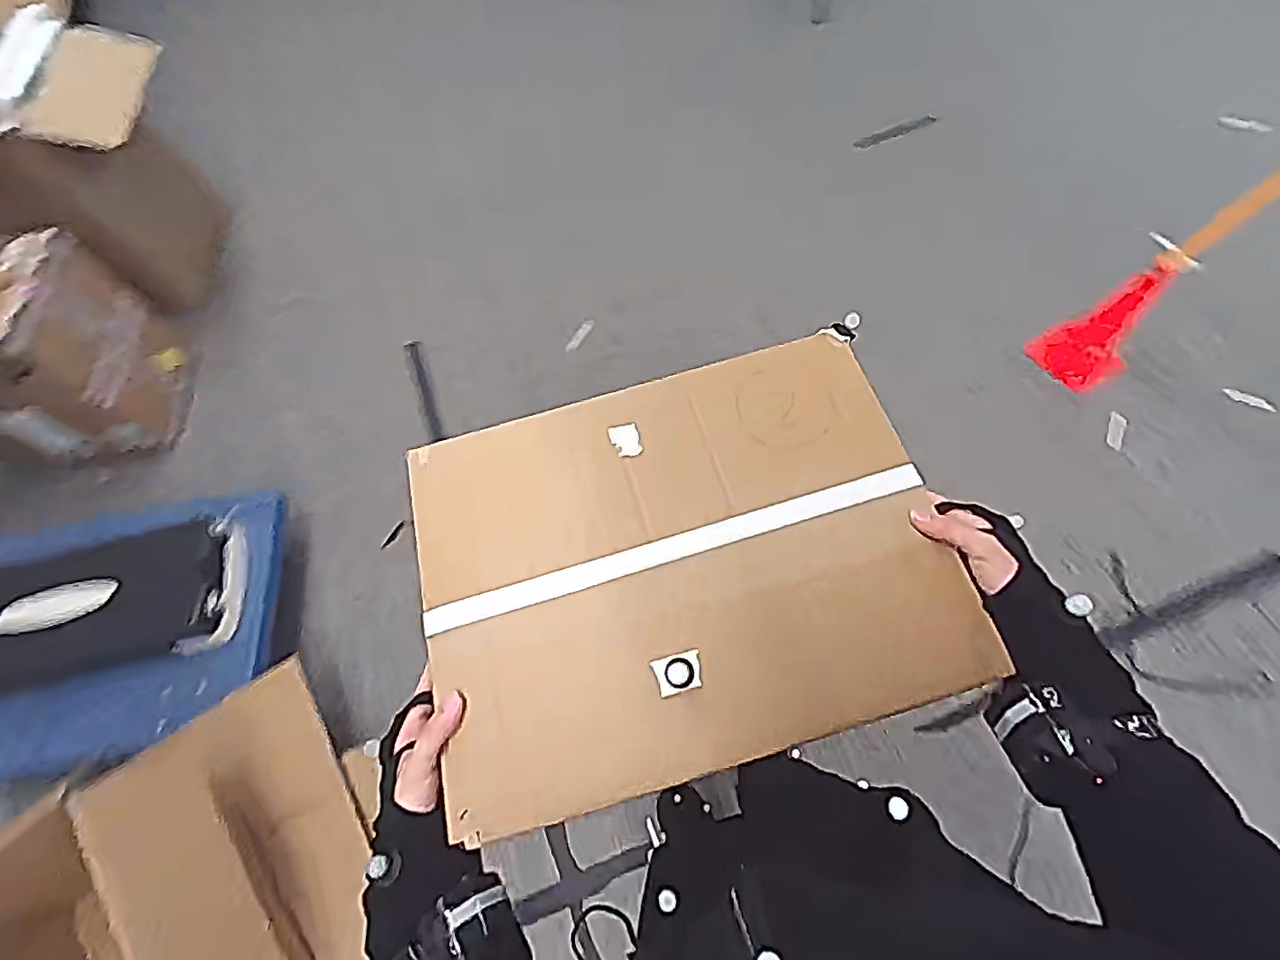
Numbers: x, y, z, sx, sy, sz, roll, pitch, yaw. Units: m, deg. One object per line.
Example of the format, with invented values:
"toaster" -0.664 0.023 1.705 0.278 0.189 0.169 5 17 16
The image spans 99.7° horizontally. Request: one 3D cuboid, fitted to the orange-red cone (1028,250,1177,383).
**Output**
"orange-red cone" 1.272 -0.463 1.449 0.198 0.360 0.199 -30 66 -10
